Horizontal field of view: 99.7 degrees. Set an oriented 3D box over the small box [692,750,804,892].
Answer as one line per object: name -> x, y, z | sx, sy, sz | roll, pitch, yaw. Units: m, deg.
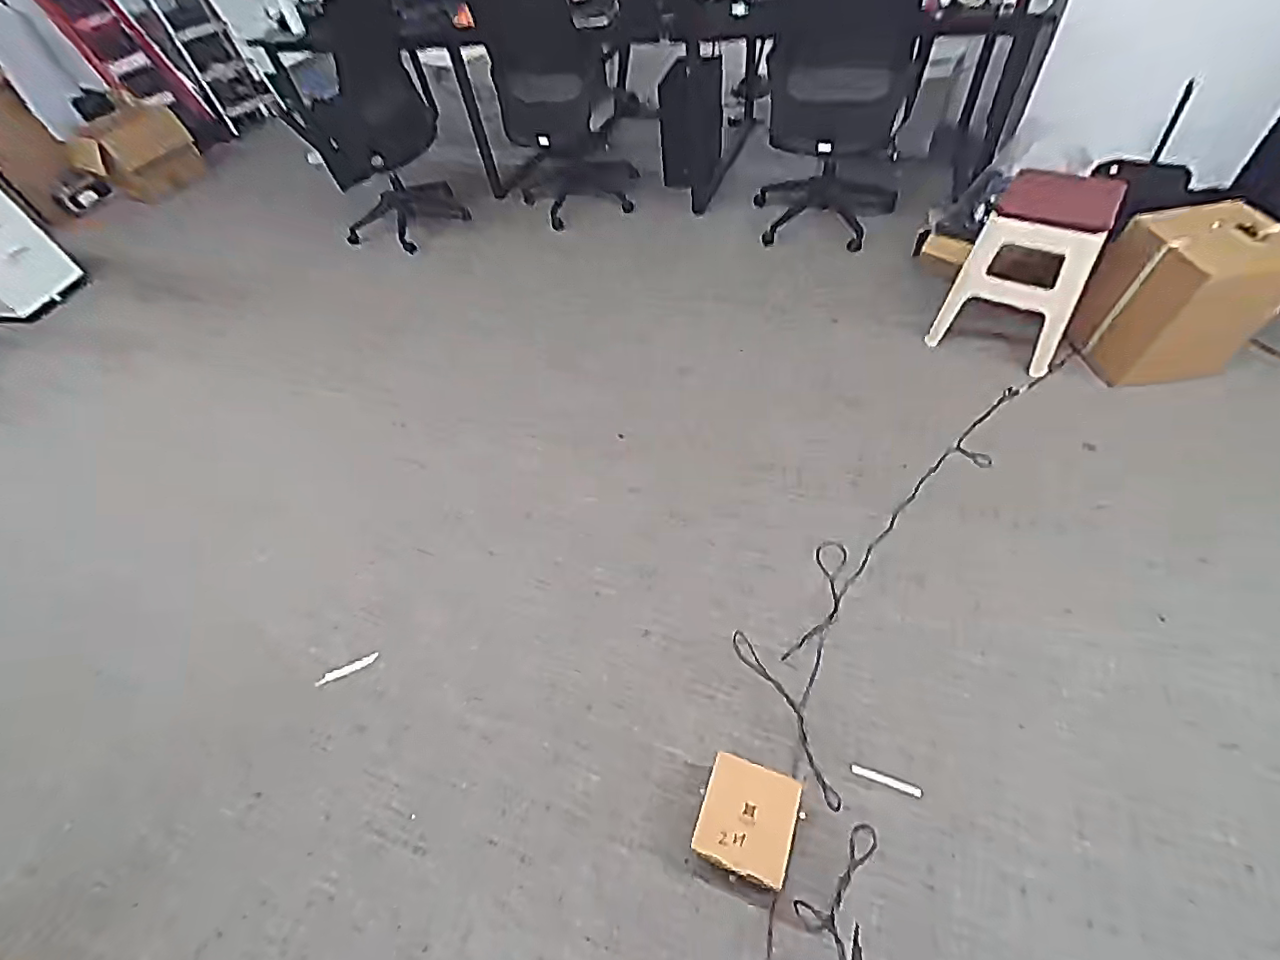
small box -> 0.207, 0.657, 1.042 | 0.168, 0.176, 0.179 | 13, 56, 20
